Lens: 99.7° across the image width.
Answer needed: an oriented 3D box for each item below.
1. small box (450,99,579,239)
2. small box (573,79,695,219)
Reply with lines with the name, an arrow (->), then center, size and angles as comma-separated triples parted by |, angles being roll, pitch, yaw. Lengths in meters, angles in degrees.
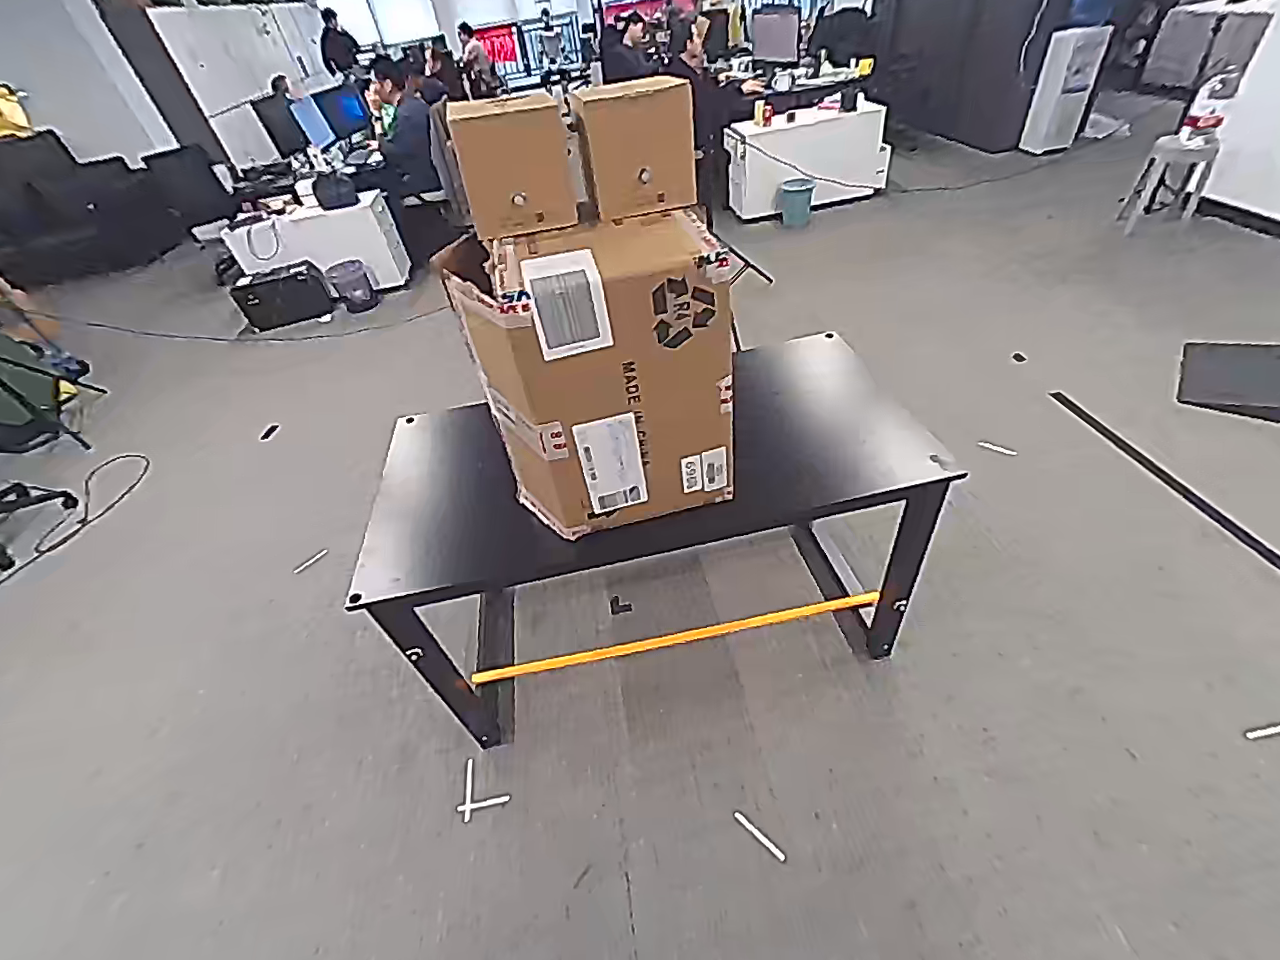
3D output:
small box -> -0.204, -0.513, 0.891 | 0.168, 0.176, 0.179 | -13, 41, -8
small box -> -0.010, -0.555, 0.908 | 0.168, 0.176, 0.179 | -14, 41, -5
